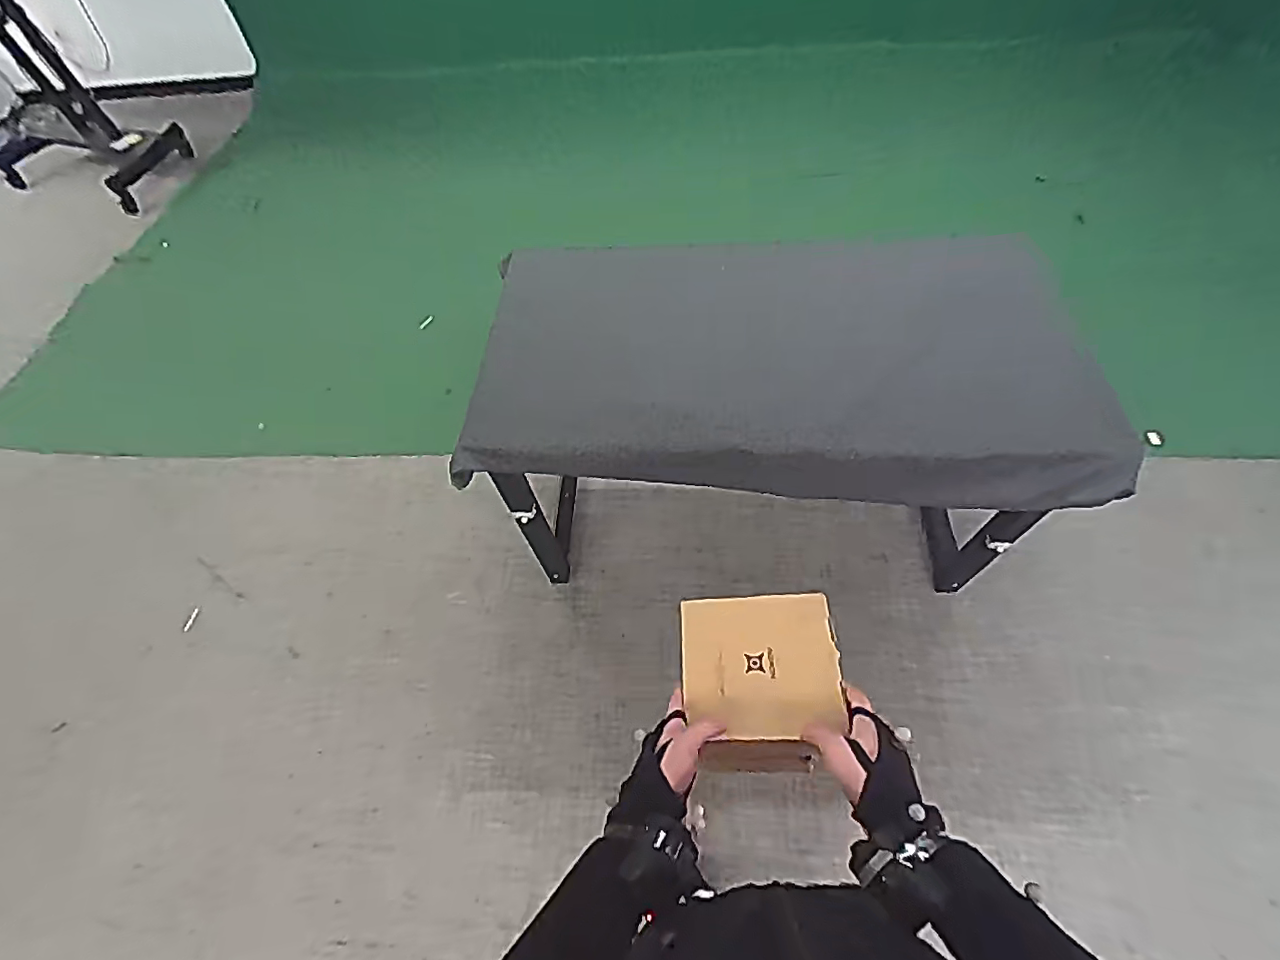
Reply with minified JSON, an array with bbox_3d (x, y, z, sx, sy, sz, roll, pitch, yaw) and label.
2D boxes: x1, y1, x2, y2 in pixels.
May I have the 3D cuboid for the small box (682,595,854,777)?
[{"bbox_3d":[0.150,0.254,0.664,0.179,0.176,0.168,-4,49,11],"label":"small box"}]
